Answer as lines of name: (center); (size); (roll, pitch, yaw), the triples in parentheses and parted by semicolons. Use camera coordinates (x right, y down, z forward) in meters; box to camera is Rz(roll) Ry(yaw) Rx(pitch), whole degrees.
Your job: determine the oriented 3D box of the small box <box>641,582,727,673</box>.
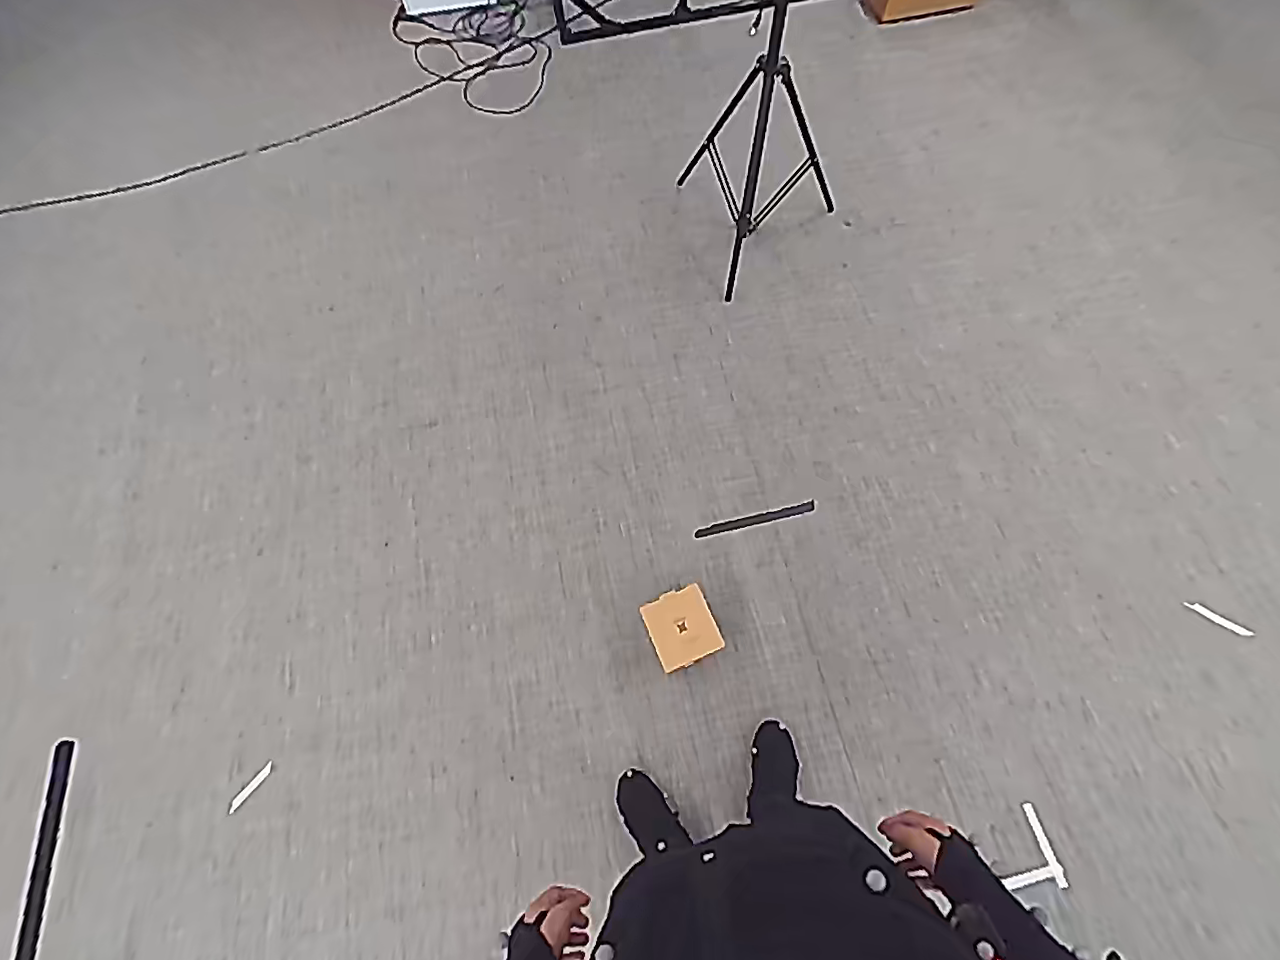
small box: (0.111, 0.393, 1.423); (0.168, 0.176, 0.179); (-23, 68, -5)
